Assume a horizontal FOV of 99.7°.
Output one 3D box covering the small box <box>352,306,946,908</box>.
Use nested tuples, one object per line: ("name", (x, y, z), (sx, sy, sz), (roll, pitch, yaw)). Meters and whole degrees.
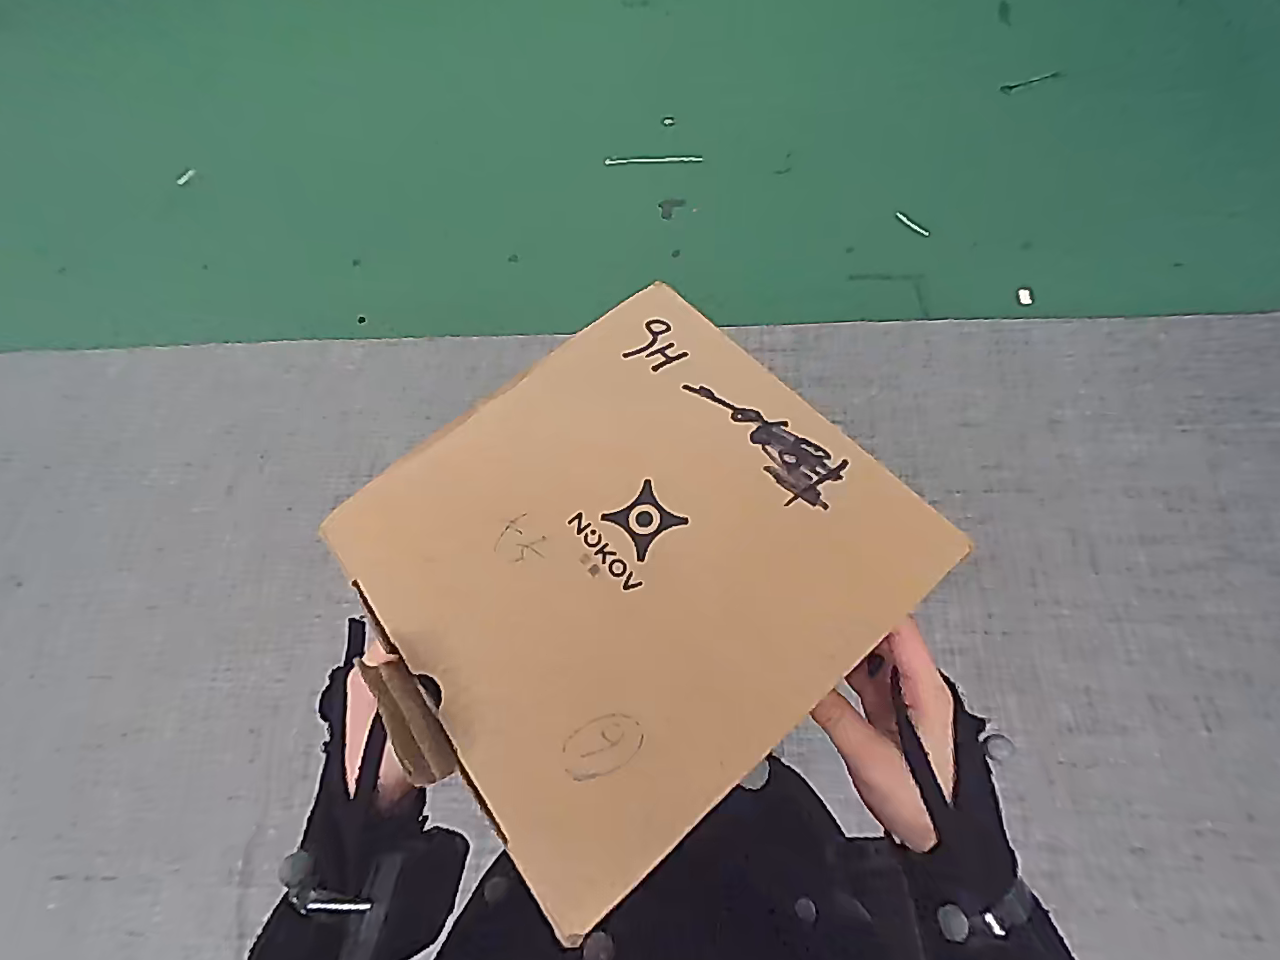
("small box", (0.005, 0.057, 0.280), (0.179, 0.176, 0.168), (-39, 68, -11))
